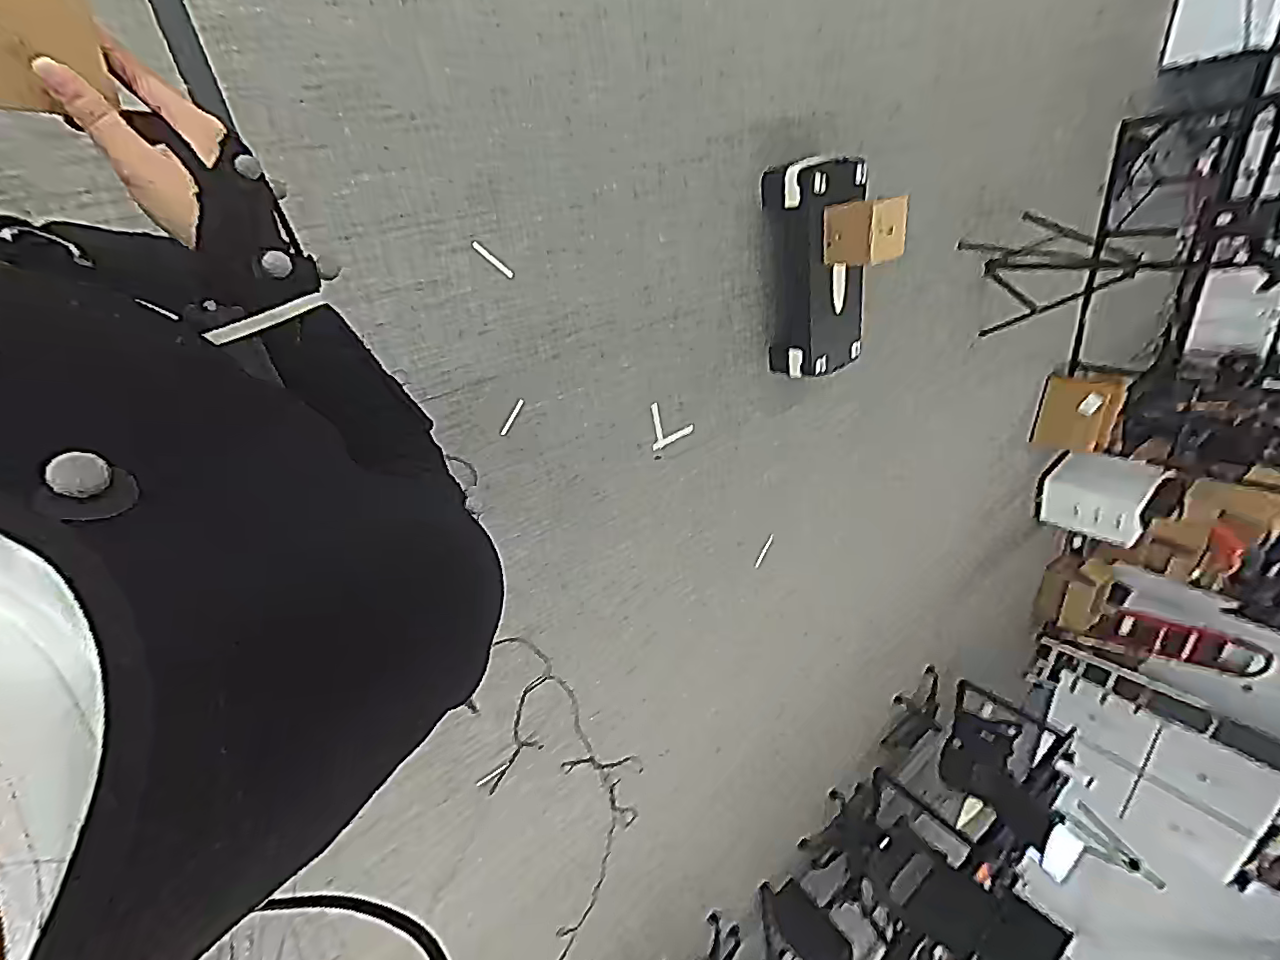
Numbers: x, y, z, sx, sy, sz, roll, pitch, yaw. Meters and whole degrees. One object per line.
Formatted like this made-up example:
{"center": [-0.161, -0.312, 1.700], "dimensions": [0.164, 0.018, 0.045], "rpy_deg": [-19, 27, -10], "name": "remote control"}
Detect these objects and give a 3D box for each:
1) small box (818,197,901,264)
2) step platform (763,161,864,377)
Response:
{"center": [0.673, -0.768, 1.669], "dimensions": [0.179, 0.176, 0.168], "rpy_deg": [-25, 120, -28], "name": "small box"}
{"center": [0.608, -0.709, 1.872], "dimensions": [0.286, 0.204, 0.684], "rpy_deg": [-26, 121, -28], "name": "step platform"}
